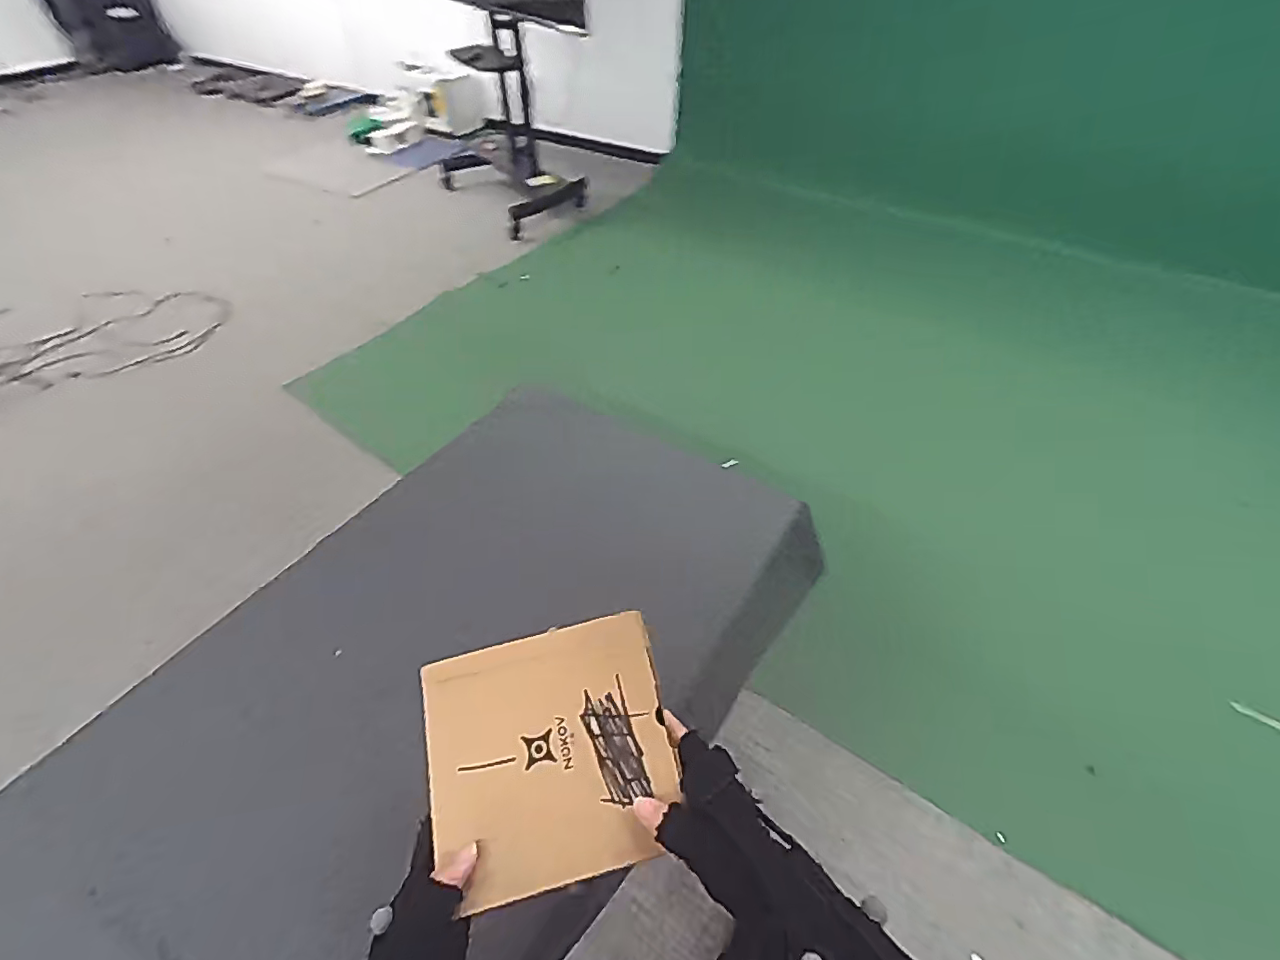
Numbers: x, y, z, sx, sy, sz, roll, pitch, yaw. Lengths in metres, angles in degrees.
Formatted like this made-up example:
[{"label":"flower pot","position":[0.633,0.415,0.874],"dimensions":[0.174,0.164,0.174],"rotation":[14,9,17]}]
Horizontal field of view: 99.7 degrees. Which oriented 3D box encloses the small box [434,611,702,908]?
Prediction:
[{"label":"small box","position":[-0.058,0.227,0.464],"dimensions":[0.179,0.176,0.168],"rotation":[-12,63,-5]}]
